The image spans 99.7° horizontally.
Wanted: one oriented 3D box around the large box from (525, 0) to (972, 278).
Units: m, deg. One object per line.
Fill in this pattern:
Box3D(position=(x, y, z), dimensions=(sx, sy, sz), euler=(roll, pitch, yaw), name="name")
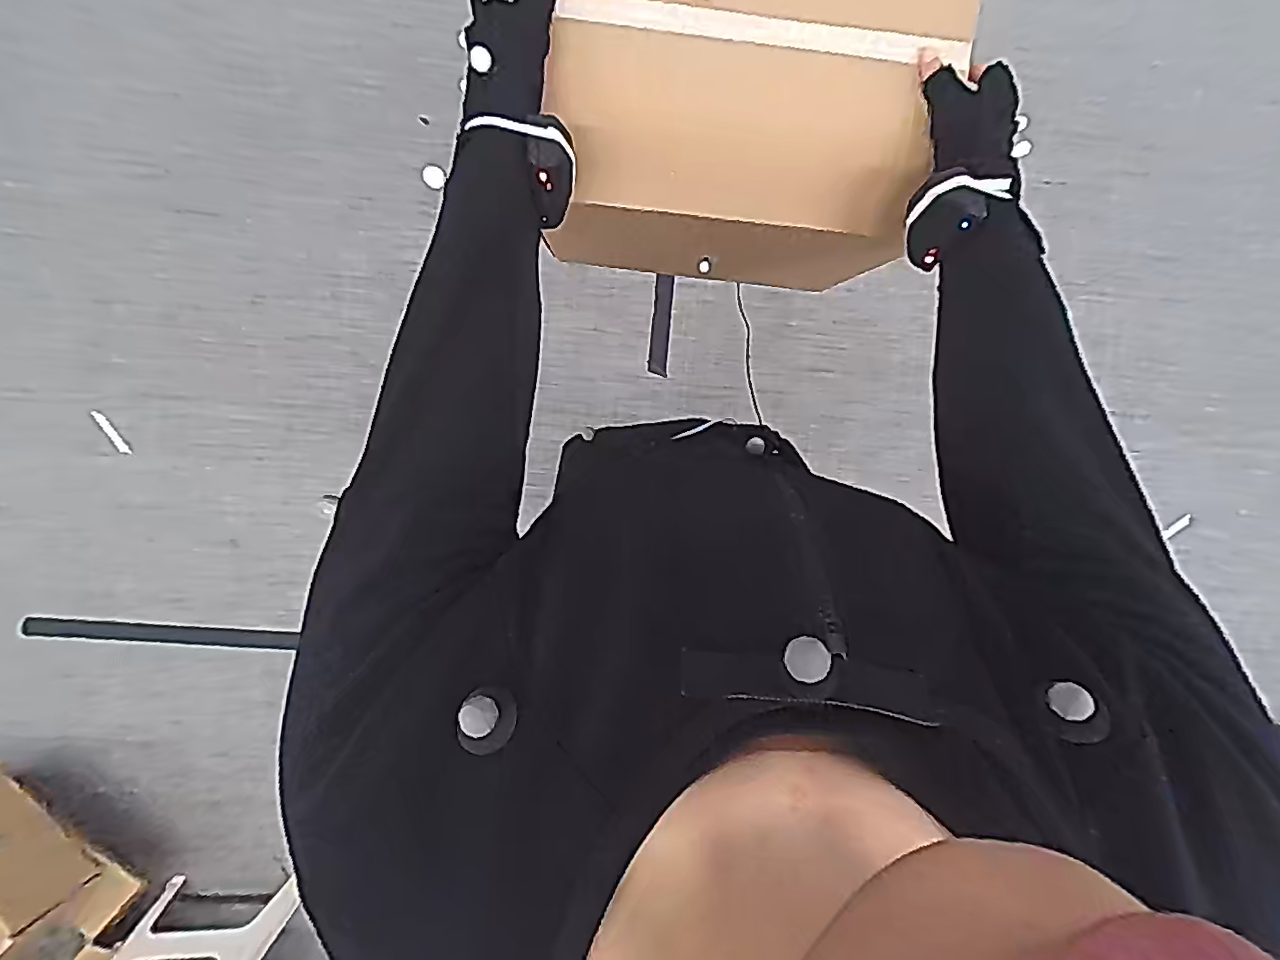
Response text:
Box3D(position=(0.098, -0.437, 0.640), dimensions=(0.408, 0.320, 0.320), euler=(5, 100, -3), name="large box")
